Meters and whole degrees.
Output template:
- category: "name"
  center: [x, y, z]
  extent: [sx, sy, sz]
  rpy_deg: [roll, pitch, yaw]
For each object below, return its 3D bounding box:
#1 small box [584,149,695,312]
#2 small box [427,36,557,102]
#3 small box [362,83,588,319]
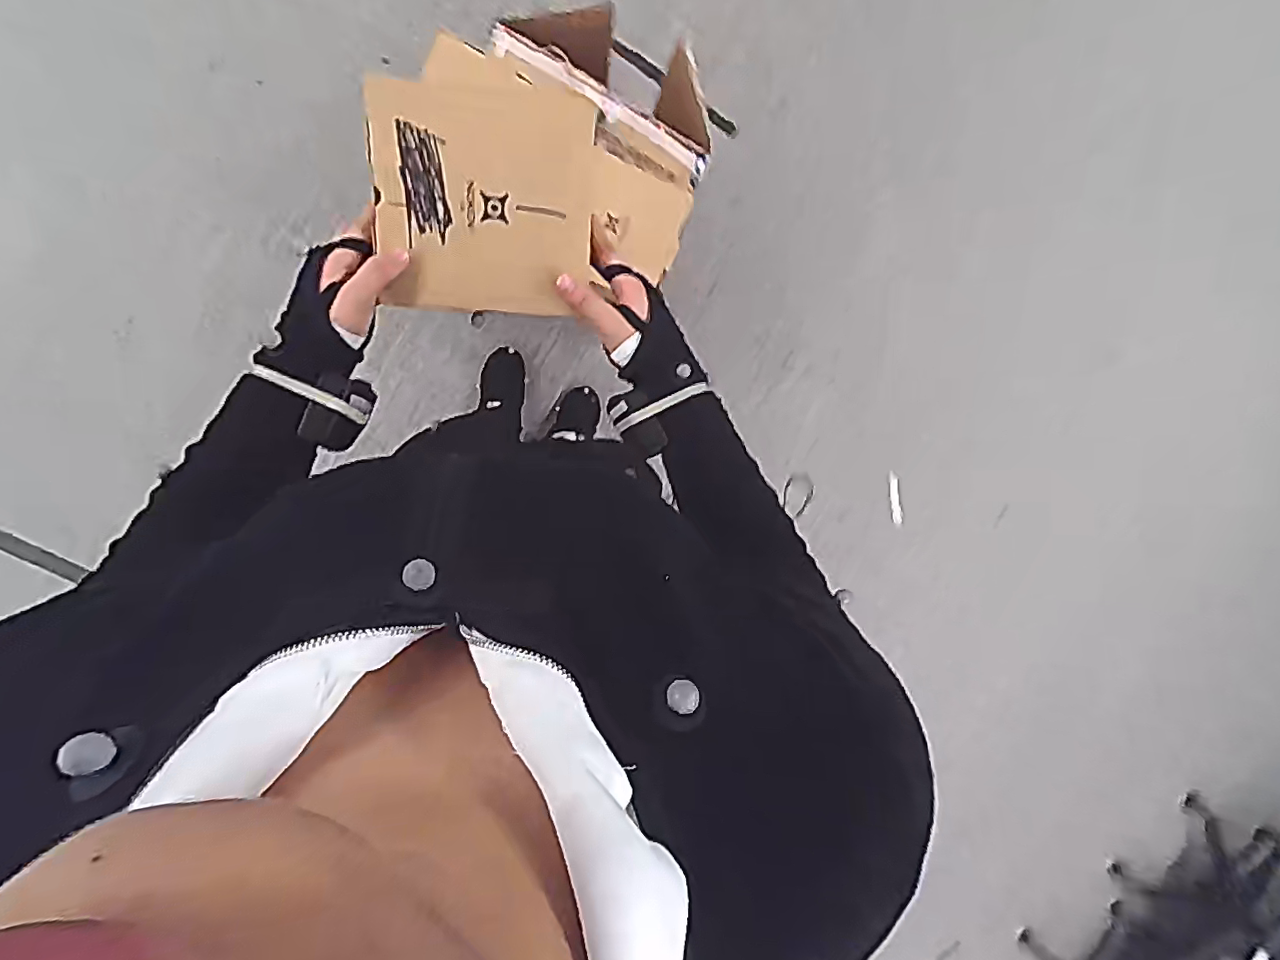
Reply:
- category: "small box"
  center: [-0.038, -0.379, 0.858]
  extent: [0.179, 0.176, 0.168]
  rpy_deg: [23, 101, -11]
- category: "small box"
  center: [-0.225, -0.492, 0.813]
  extent: [0.168, 0.176, 0.179]
  rpy_deg: [27, 101, -9]
- category: "small box"
  center: [-0.142, -0.246, 0.521]
  extent: [0.179, 0.176, 0.168]
  rpy_deg: [0, 106, -8]
